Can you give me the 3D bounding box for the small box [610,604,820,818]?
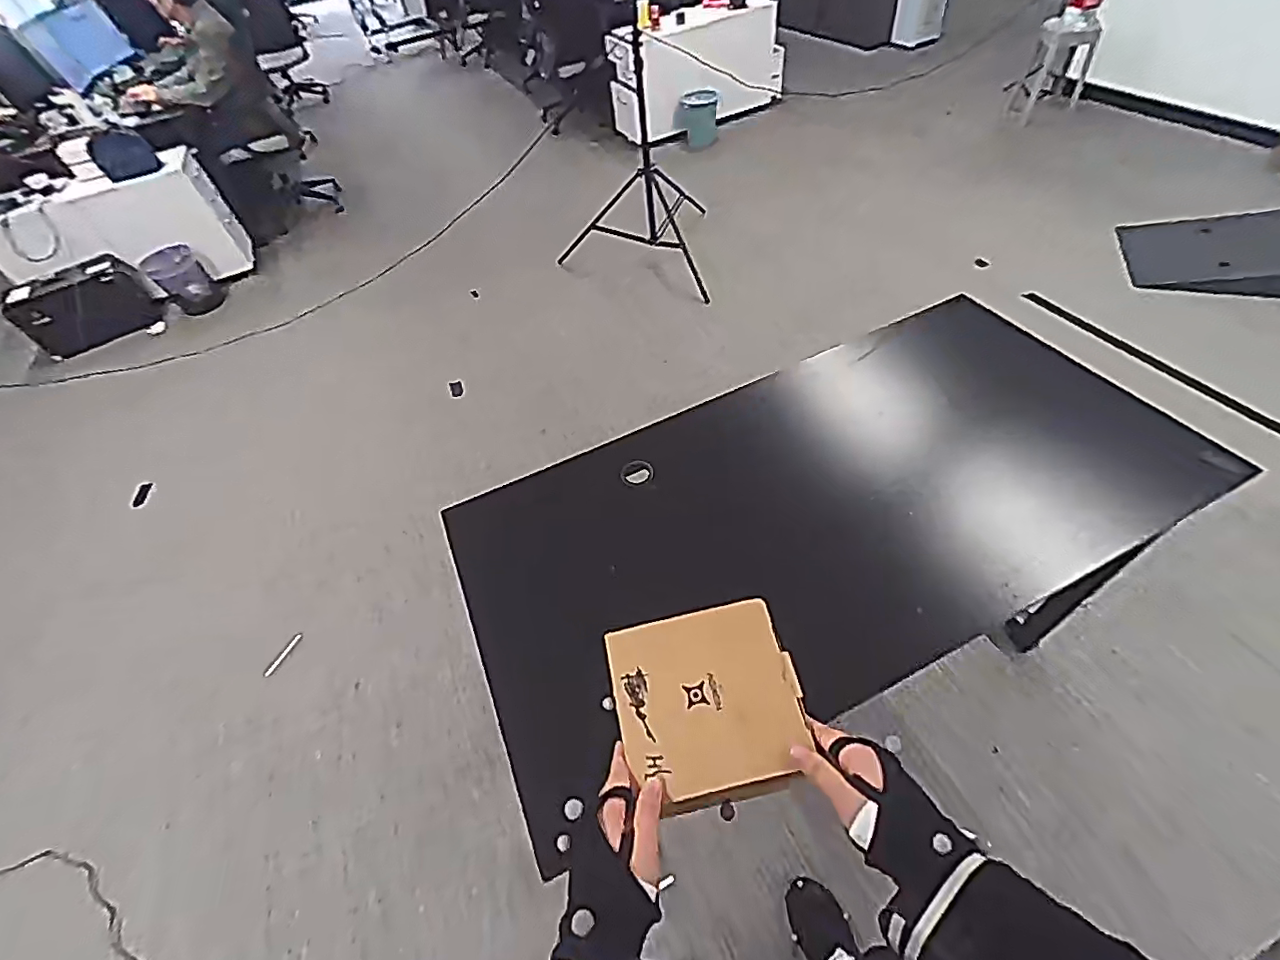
[{"bbox_3d":[0.070,0.257,0.593,0.179,0.176,0.168,-11,54,-3],"label":"small box"}]
